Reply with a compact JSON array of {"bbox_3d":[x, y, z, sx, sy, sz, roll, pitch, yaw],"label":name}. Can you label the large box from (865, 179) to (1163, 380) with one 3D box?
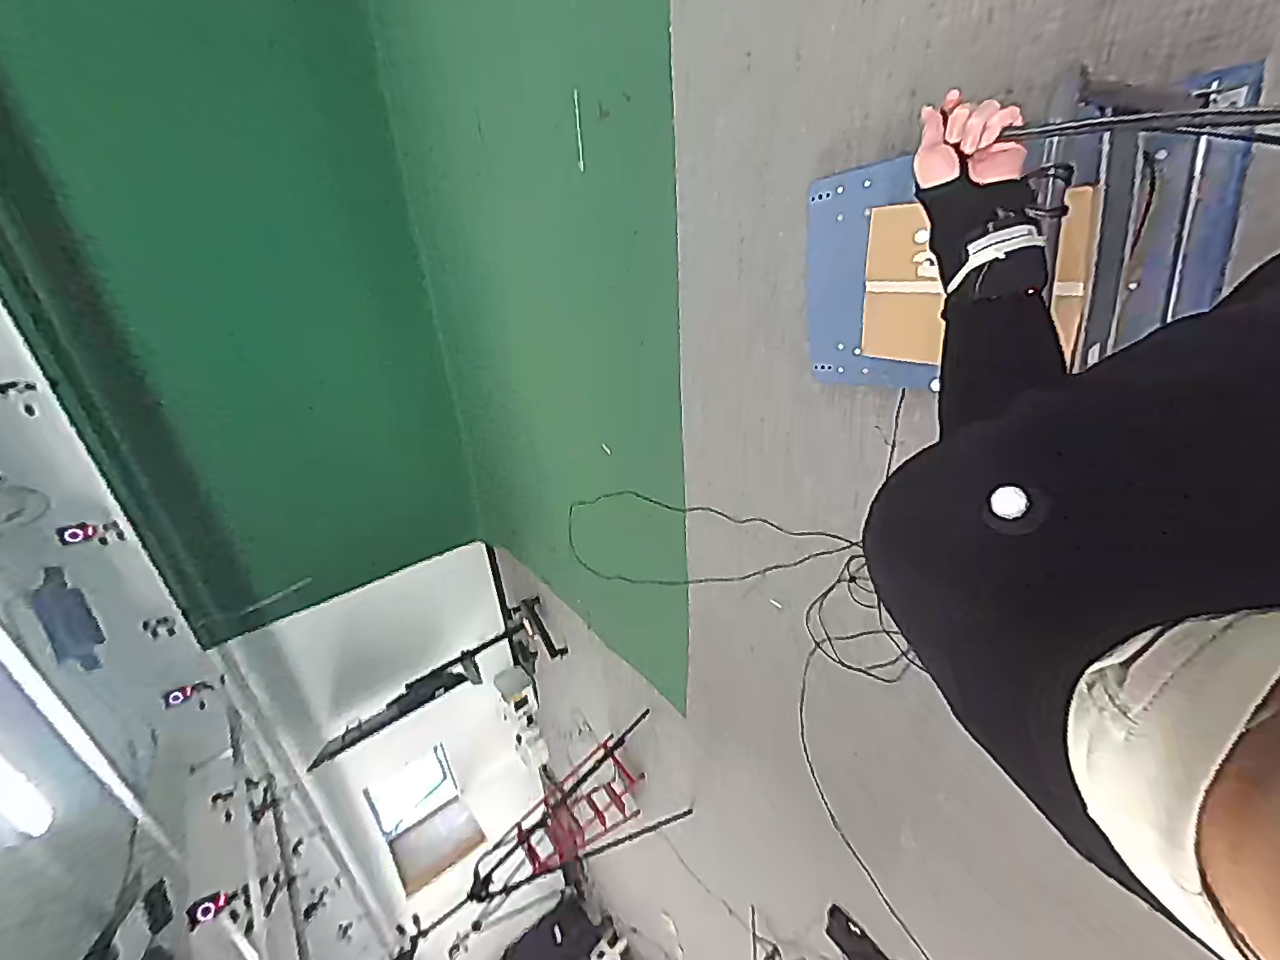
[{"bbox_3d":[0.741,-0.415,1.117,0.408,0.320,0.320,24,128,48],"label":"large box"}]
